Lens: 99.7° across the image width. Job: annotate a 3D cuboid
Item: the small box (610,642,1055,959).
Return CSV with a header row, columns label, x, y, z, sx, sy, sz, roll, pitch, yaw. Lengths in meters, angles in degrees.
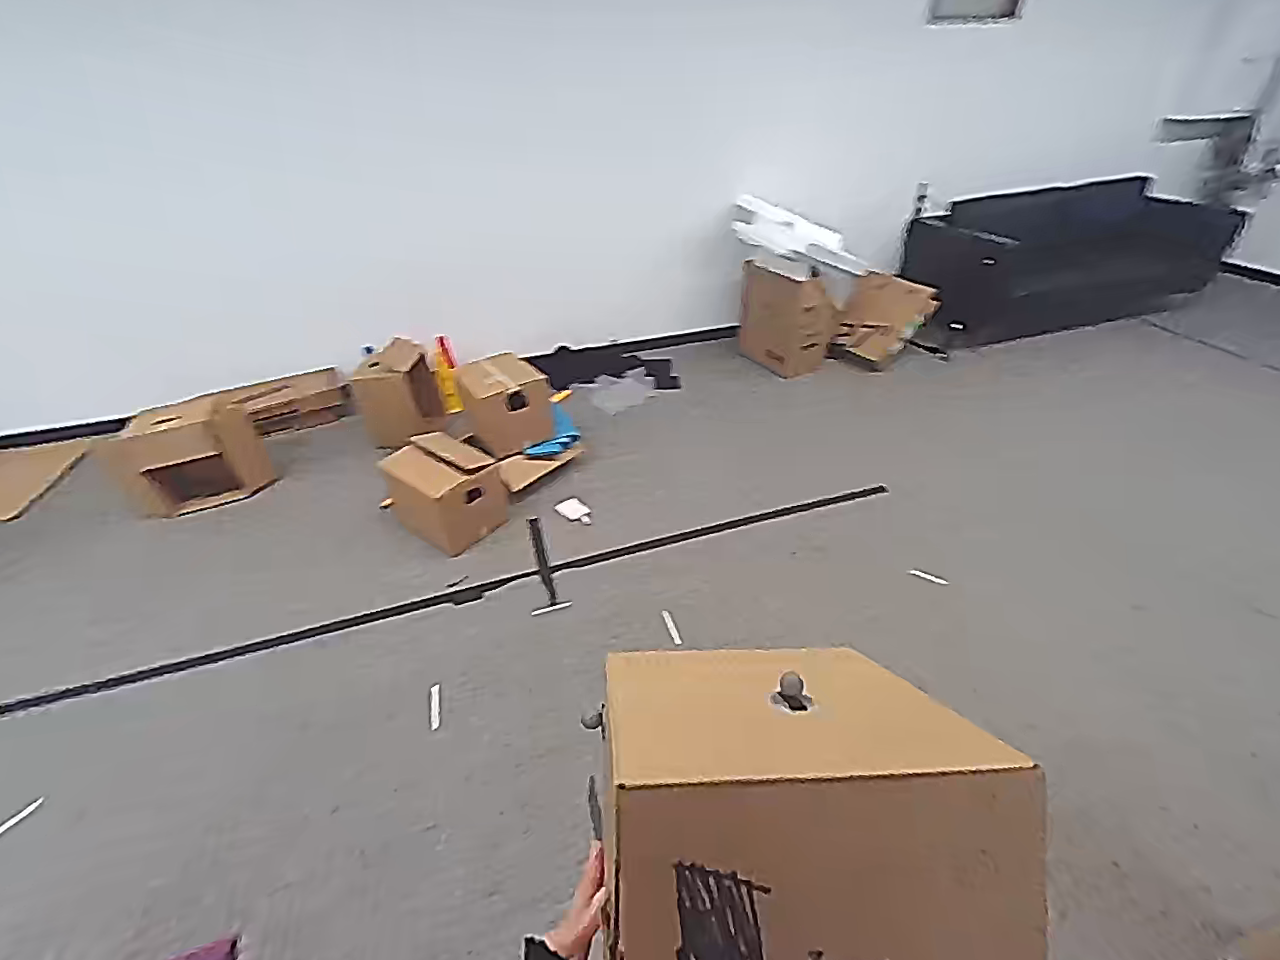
label,x,y,z,sx,sy,sz,roll,pitch,yaw
small box,0.073,0.191,0.289,0.179,0.168,0.176,1,-1,-5
